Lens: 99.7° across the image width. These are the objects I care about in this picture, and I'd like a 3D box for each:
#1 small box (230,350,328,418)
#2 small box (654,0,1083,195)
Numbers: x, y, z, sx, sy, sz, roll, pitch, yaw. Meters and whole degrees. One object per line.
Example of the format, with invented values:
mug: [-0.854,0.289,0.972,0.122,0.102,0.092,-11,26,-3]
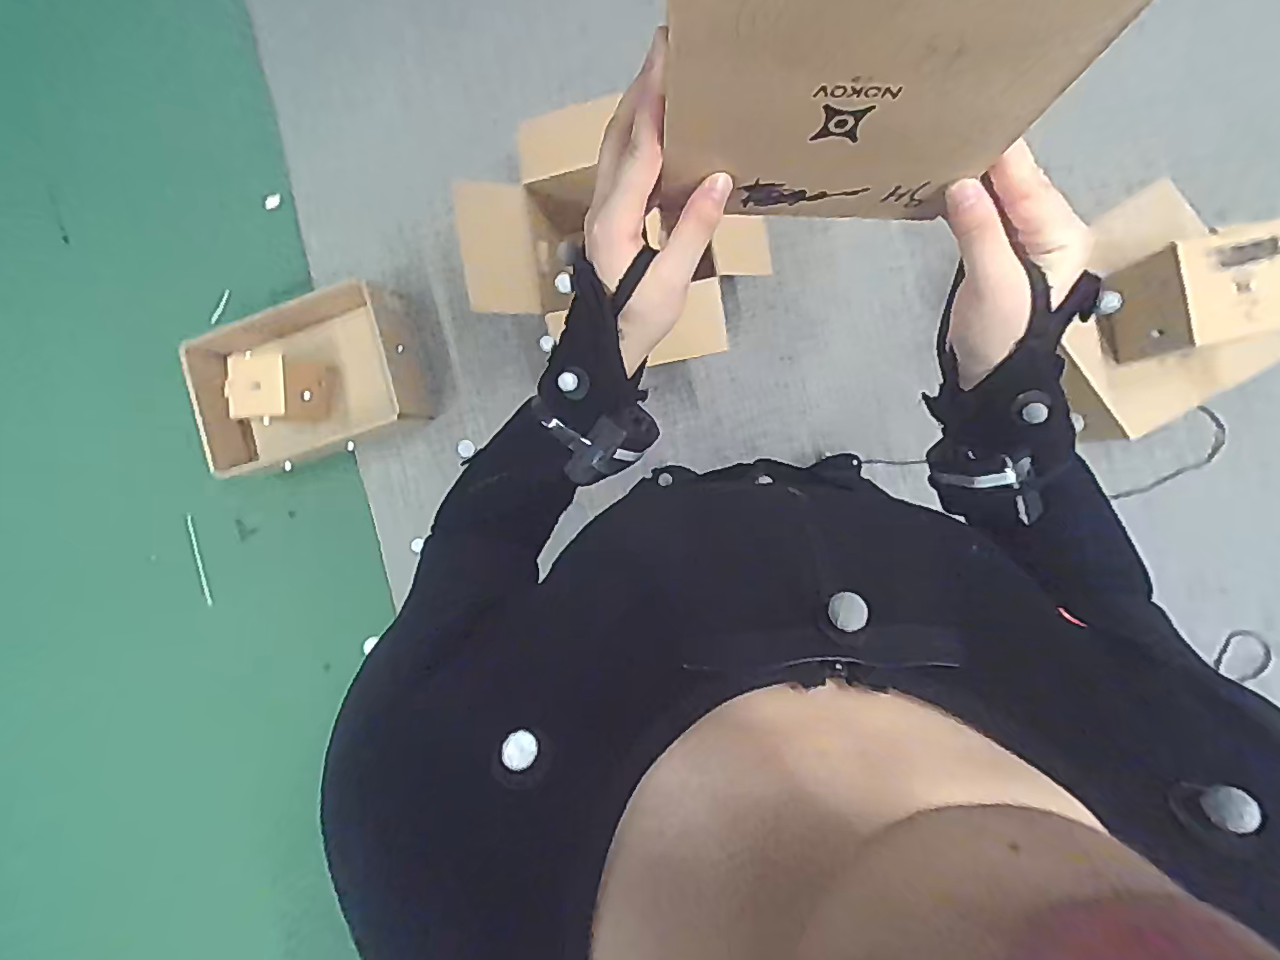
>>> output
small box: [-1.025,-0.271,1.551,0.179,0.176,0.168,-2,91,9]
small box: [0.091,-0.265,0.254,0.168,0.179,0.176,1,86,1]
